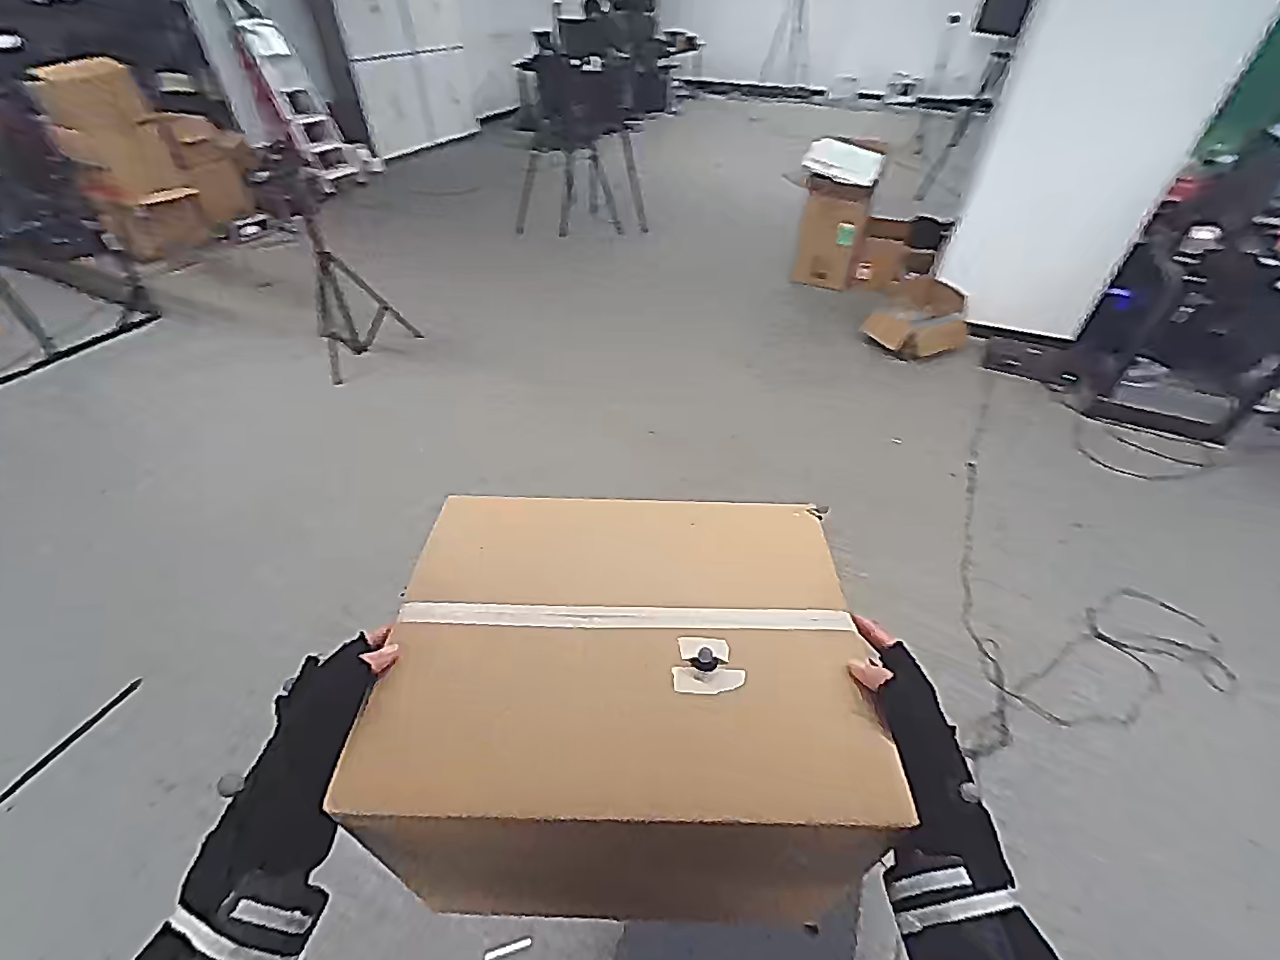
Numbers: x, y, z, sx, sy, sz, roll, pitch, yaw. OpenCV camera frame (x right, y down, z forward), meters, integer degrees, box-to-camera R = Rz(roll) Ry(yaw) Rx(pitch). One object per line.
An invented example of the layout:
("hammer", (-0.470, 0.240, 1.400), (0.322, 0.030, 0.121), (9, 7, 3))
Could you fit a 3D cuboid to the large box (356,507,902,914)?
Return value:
("large box", (-0.010, 0.247, 0.594), (0.408, 0.320, 0.320), (2, 41, 0))
